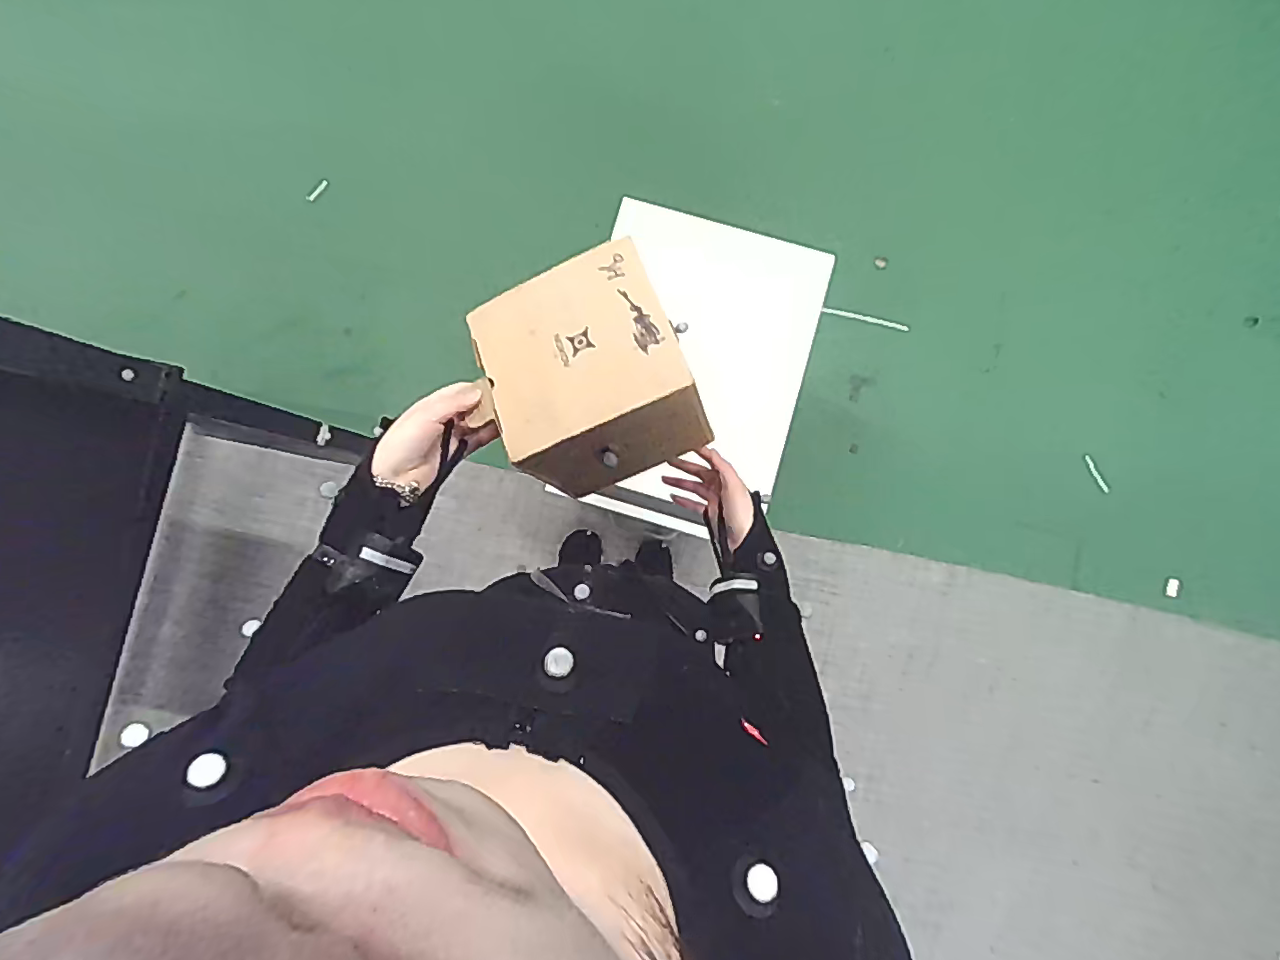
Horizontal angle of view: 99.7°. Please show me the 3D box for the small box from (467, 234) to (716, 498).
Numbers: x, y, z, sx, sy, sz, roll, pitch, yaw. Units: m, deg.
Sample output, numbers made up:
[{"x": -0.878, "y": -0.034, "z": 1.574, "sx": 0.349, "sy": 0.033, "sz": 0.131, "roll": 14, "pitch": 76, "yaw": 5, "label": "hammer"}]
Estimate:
[{"x": -0.039, "y": -0.096, "z": 0.544, "sx": 0.179, "sy": 0.176, "sz": 0.168, "roll": -23, "pitch": 73, "yaw": 9, "label": "small box"}]
